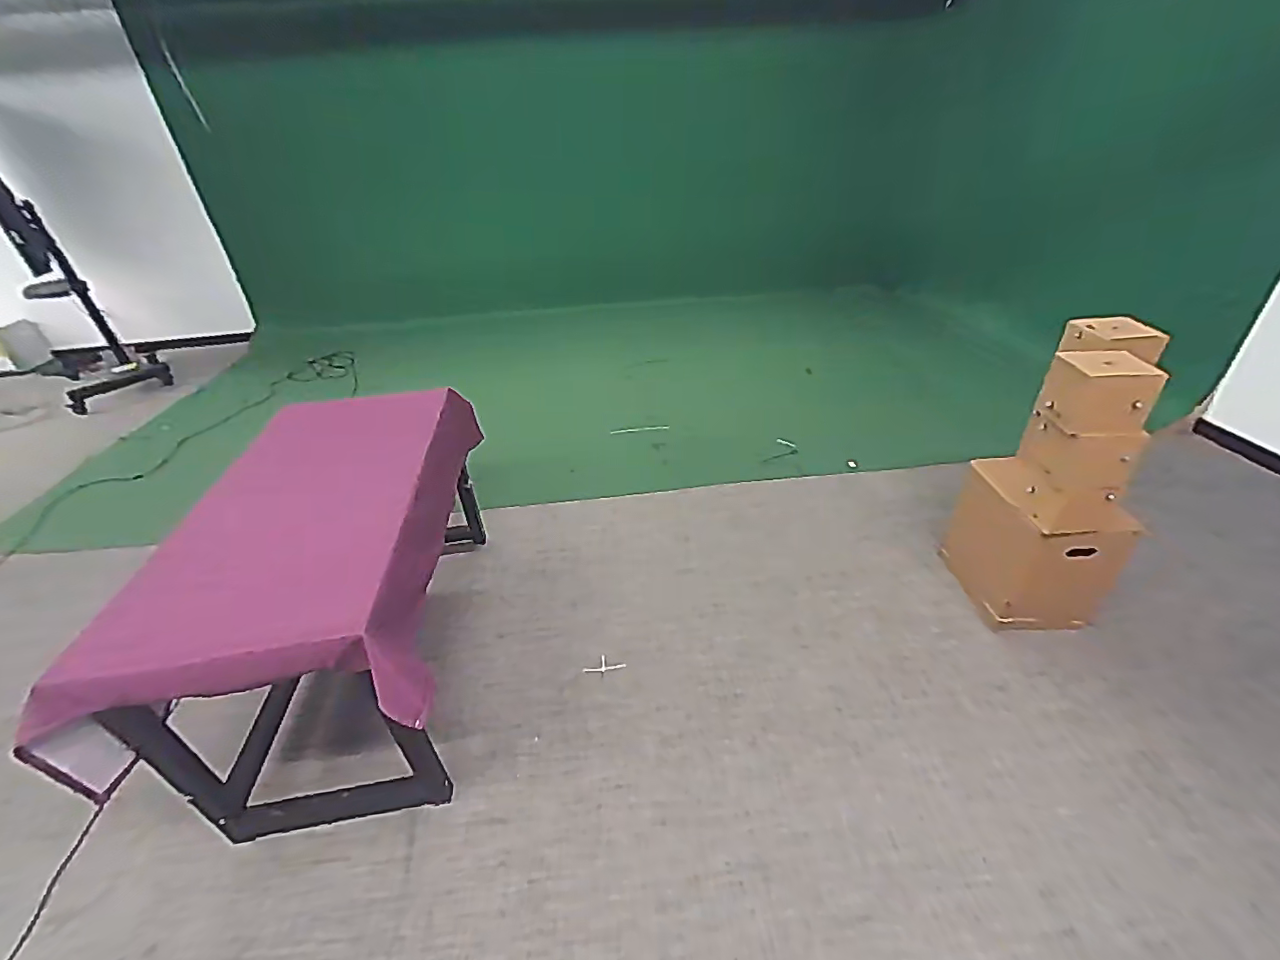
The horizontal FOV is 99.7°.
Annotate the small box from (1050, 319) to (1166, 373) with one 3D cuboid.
[{"bbox_3d":[1.391,-0.372,1.622,0.179,0.176,0.168,-2,33,2],"label":"small box"}]

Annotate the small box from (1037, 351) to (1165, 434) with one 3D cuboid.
[{"bbox_3d":[1.208,-0.231,1.435,0.179,0.176,0.168,-1,34,6],"label":"small box"}]

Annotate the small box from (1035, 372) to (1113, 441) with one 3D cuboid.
[{"bbox_3d":[1.394,-0.233,1.711,0.179,0.176,0.168,2,34,7],"label":"small box"}]

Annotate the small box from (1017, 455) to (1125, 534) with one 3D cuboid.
[{"bbox_3d":[1.264,0.045,1.606,0.179,0.176,0.168,-5,34,0],"label":"small box"}]

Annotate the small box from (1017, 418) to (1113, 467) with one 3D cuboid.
[{"bbox_3d":[1.401,-0.094,1.799,0.168,0.176,0.179,0,35,6],"label":"small box"}]
